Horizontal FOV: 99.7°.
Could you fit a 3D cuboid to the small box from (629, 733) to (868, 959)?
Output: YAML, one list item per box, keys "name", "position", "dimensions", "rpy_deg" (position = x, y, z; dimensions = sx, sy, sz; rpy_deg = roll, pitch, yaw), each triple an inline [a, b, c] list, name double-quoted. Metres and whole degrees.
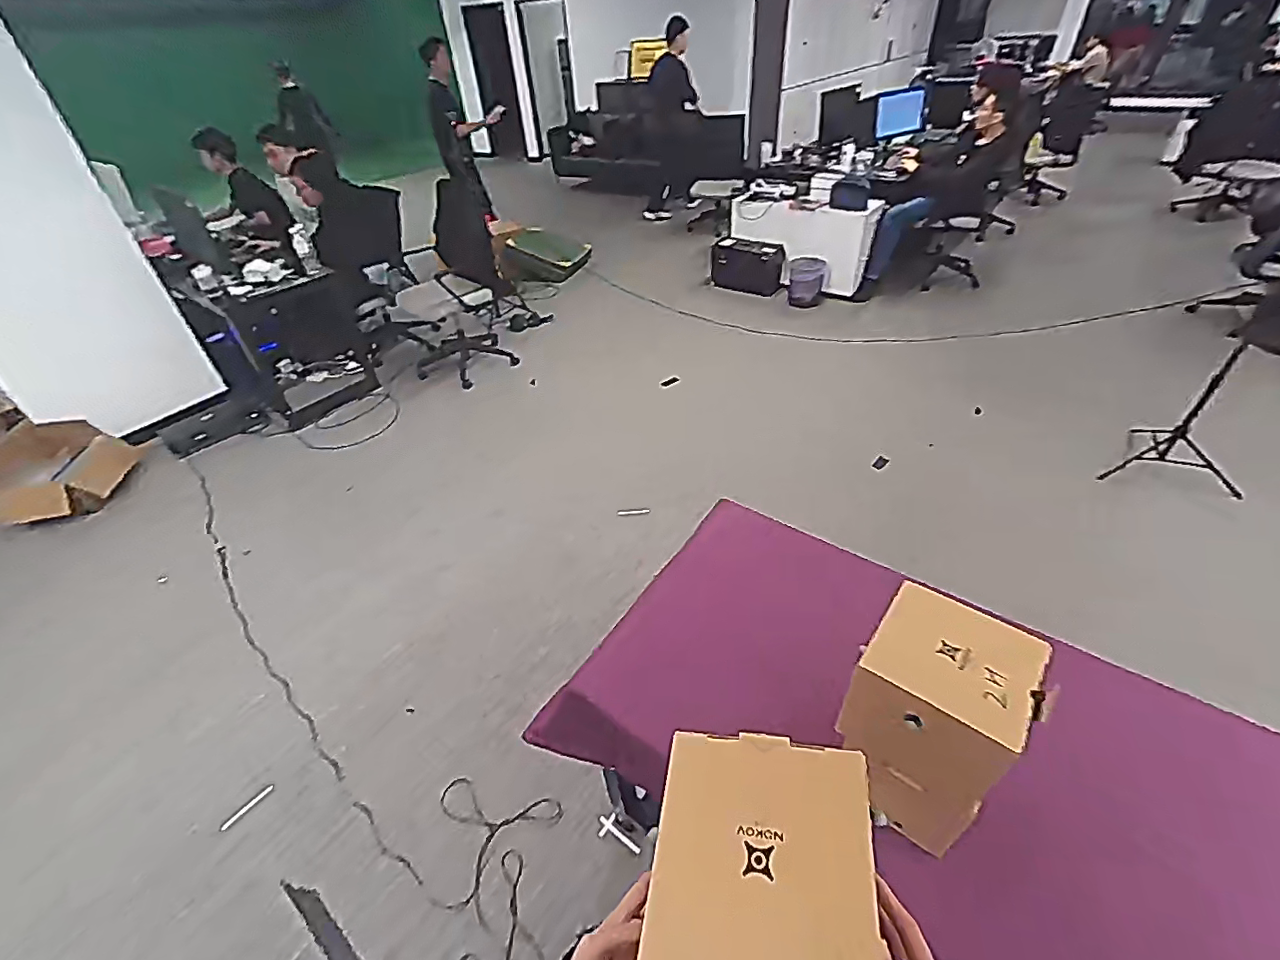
- name: "small box"
  position: [0.105, 0.351, 0.467]
  dimensions: [0.168, 0.176, 0.179]
  rpy_deg: [-2, 39, 18]

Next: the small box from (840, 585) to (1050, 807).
- name: "small box"
  position: [0.382, 0.278, 0.701]
  dimensions: [0.179, 0.176, 0.168]
  rpy_deg: [26, 49, 32]
